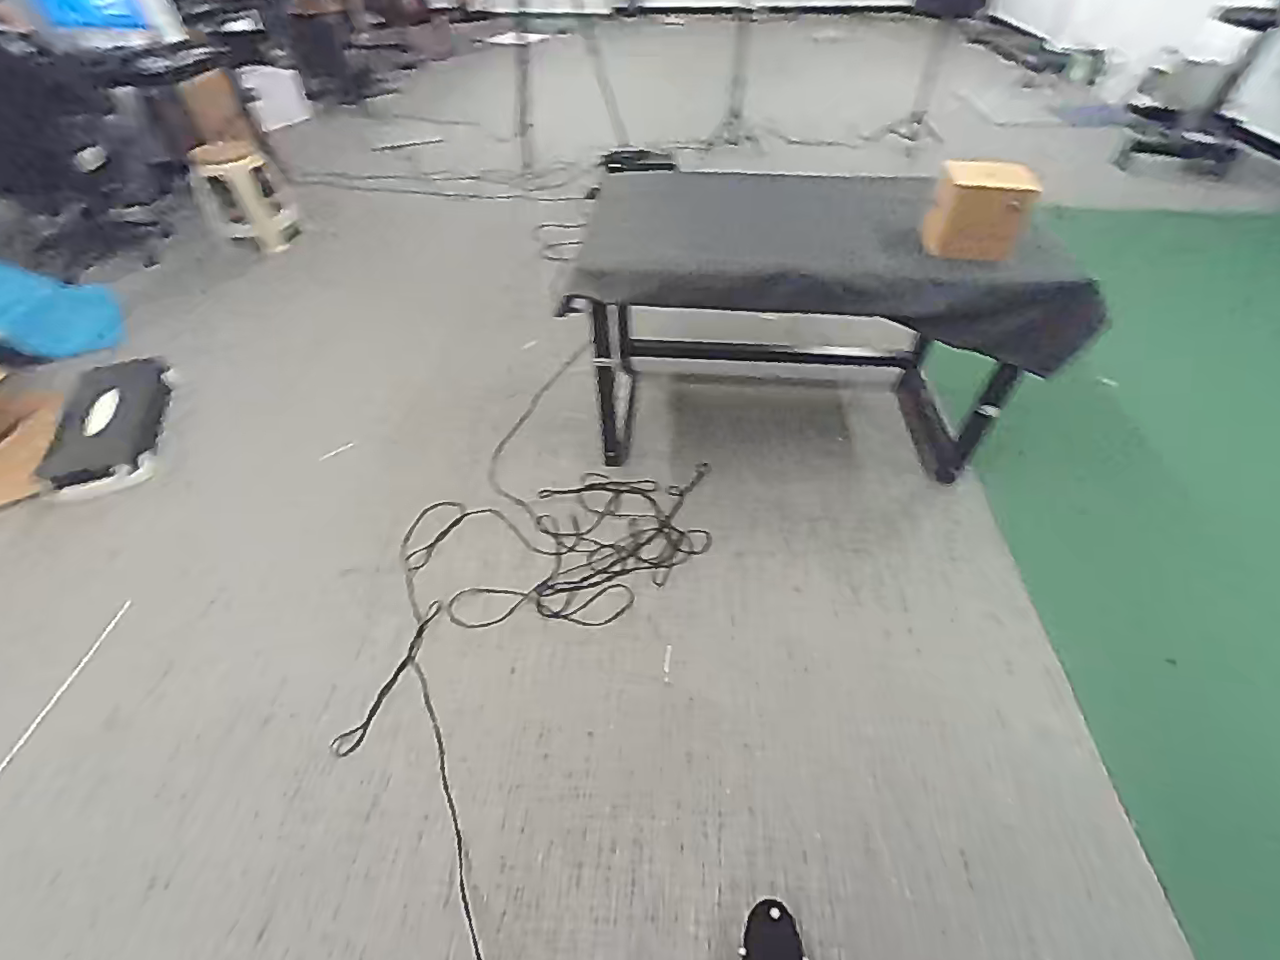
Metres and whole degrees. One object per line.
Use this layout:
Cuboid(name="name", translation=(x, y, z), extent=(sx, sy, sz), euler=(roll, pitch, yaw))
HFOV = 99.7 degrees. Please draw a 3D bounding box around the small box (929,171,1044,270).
Cuboid(name="small box", translation=(0.821, -0.626, 1.307), extent=(0.179, 0.176, 0.168), euler=(9, 47, 8))
